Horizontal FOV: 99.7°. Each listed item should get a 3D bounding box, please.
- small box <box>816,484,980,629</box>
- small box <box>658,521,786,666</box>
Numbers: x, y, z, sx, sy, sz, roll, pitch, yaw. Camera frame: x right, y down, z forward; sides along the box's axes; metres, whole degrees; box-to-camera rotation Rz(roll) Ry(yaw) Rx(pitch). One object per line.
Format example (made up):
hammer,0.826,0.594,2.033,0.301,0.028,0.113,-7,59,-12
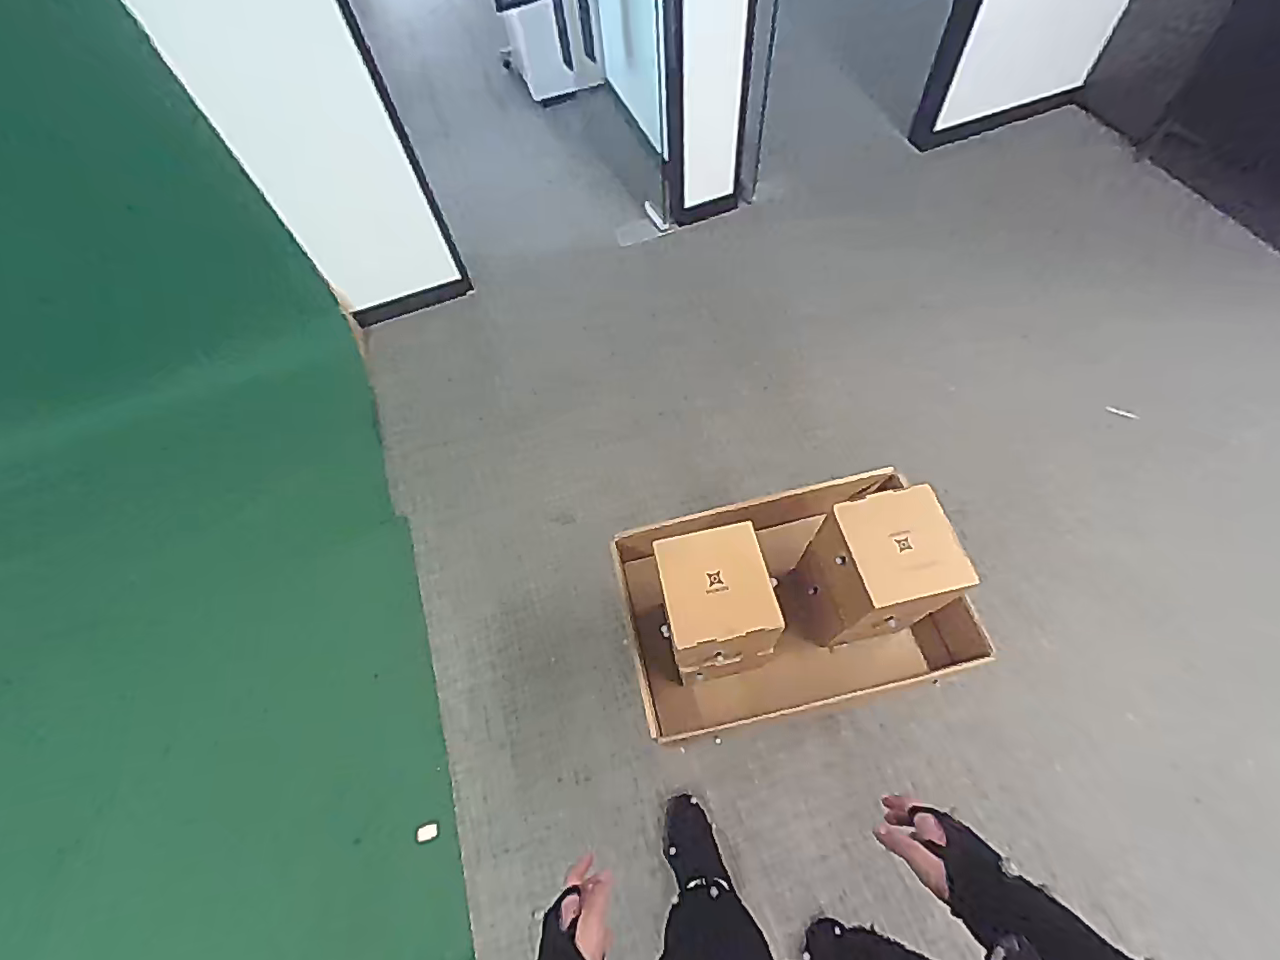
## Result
small box,0.414,0.133,0.906,0.168,0.176,0.179,-12,62,-1
small box,0.125,0.194,0.900,0.168,0.176,0.179,-12,61,-2
